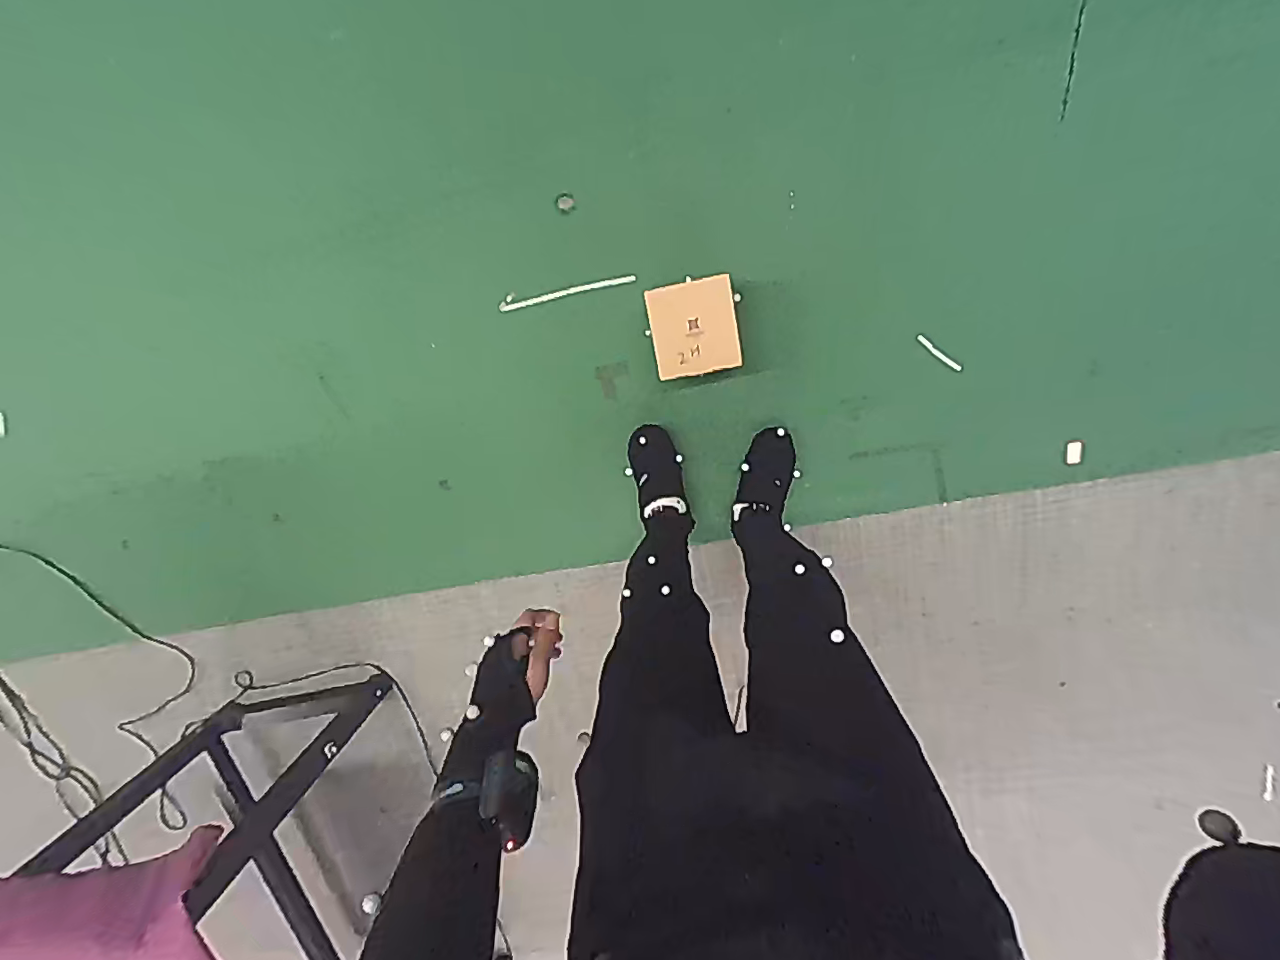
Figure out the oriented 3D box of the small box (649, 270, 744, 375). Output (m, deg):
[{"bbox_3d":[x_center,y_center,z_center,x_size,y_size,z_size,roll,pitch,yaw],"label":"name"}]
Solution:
[{"bbox_3d":[0.117,-0.321,1.120,0.168,0.176,0.179,-8,105,8],"label":"small box"}]
